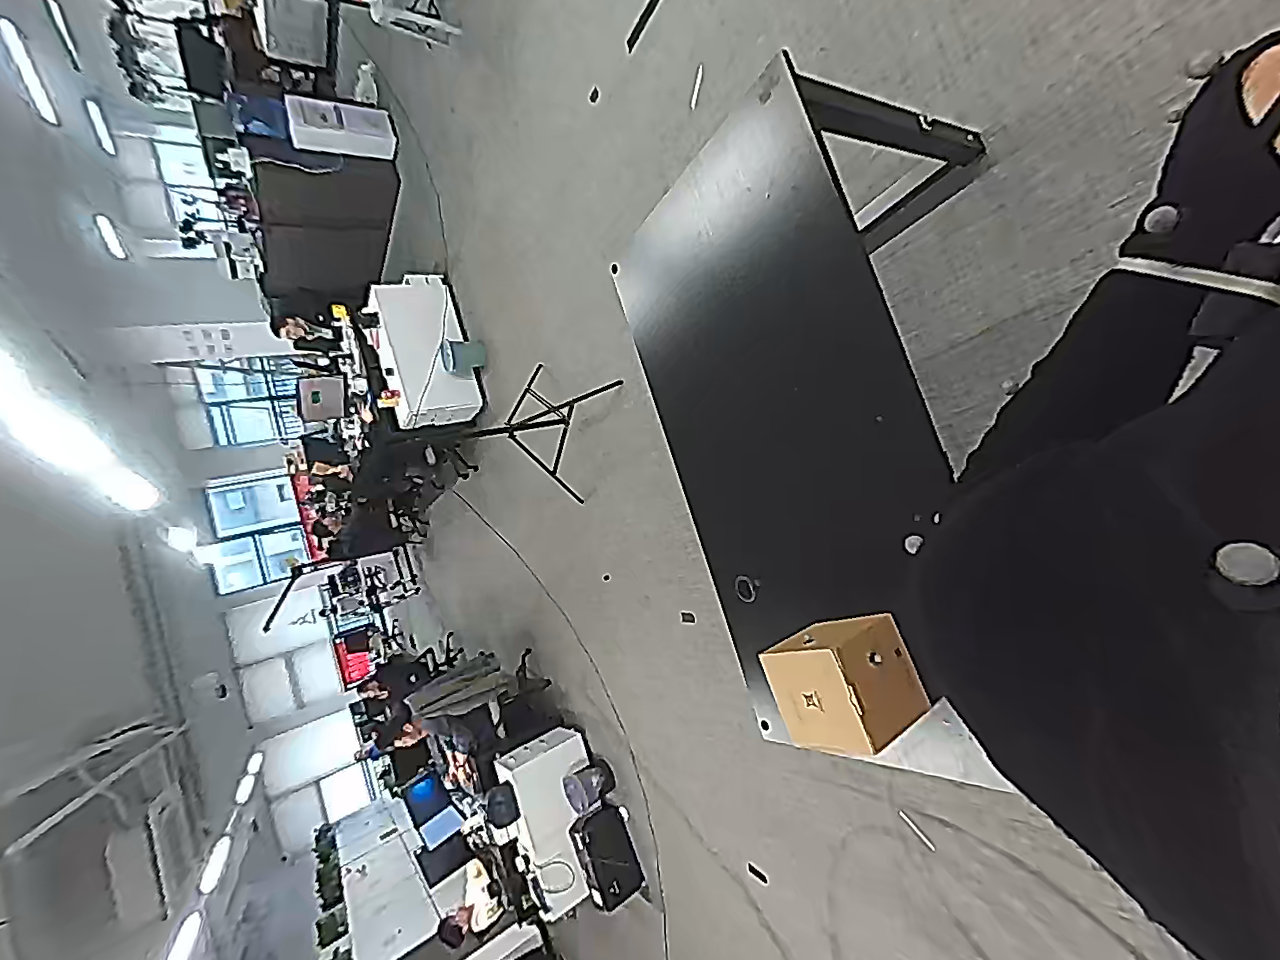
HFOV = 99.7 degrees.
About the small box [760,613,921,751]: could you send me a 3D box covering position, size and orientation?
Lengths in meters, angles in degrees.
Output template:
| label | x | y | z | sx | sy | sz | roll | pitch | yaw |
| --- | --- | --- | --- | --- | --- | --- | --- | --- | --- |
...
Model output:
| label | x | y | z | sx | sy | sz | roll | pitch | yaw |
| --- | --- | --- | --- | --- | --- | --- | --- | --- | --- |
| small box | 0.348 | 0.338 | 0.928 | 0.179 | 0.176 | 0.168 | -35 | 72 | 56 |
